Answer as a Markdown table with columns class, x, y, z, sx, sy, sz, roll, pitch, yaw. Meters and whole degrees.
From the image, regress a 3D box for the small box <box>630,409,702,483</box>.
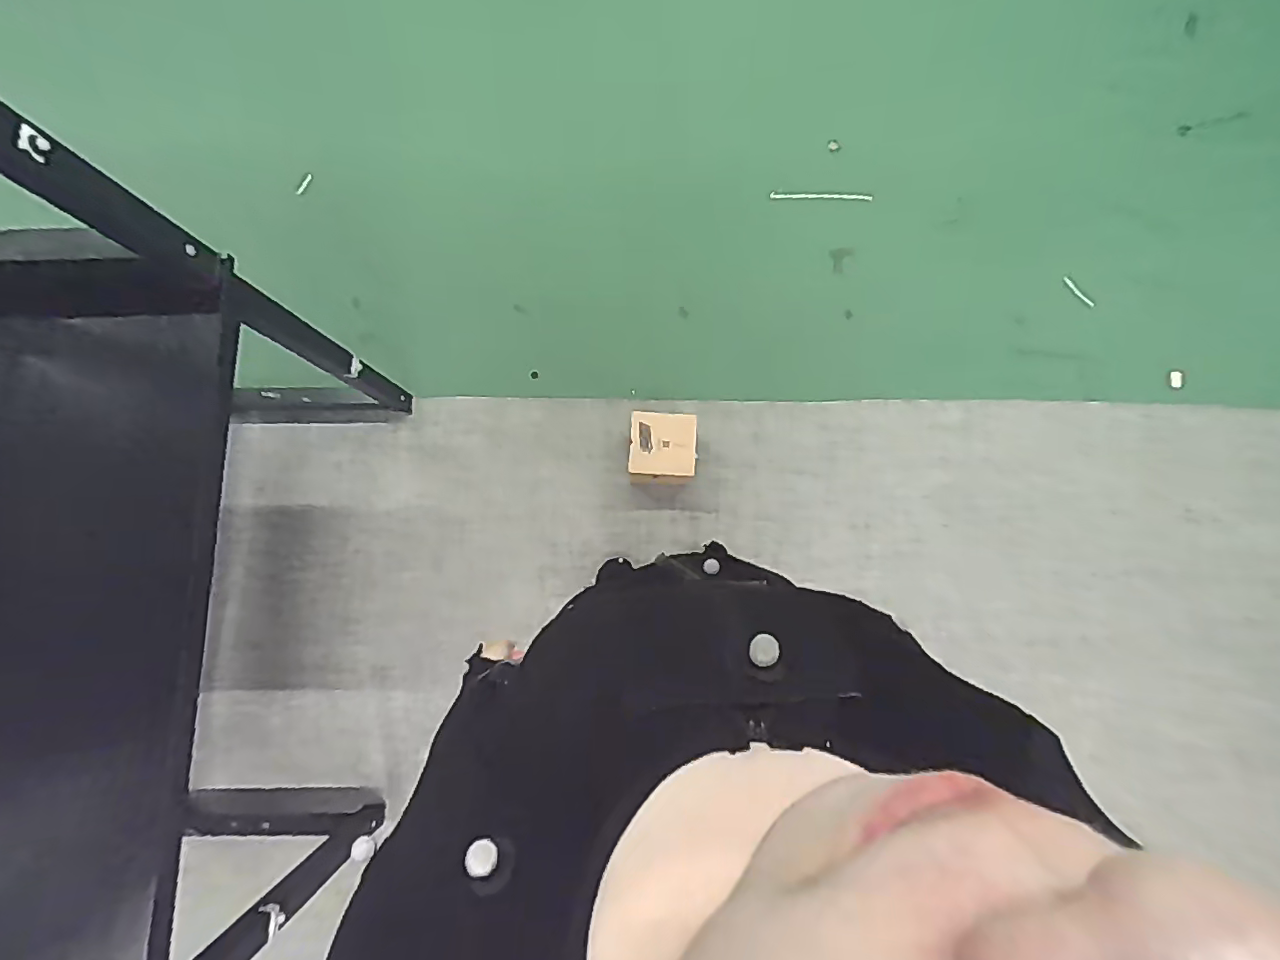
| class | x | y | z | sx | sy | sz | roll | pitch | yaw |
| --- | --- | --- | --- | --- | --- | --- | --- | --- | --- |
| small box | 0.069 | -0.086 | 1.467 | 0.179 | 0.176 | 0.168 | 4 | 83 | 1 |
